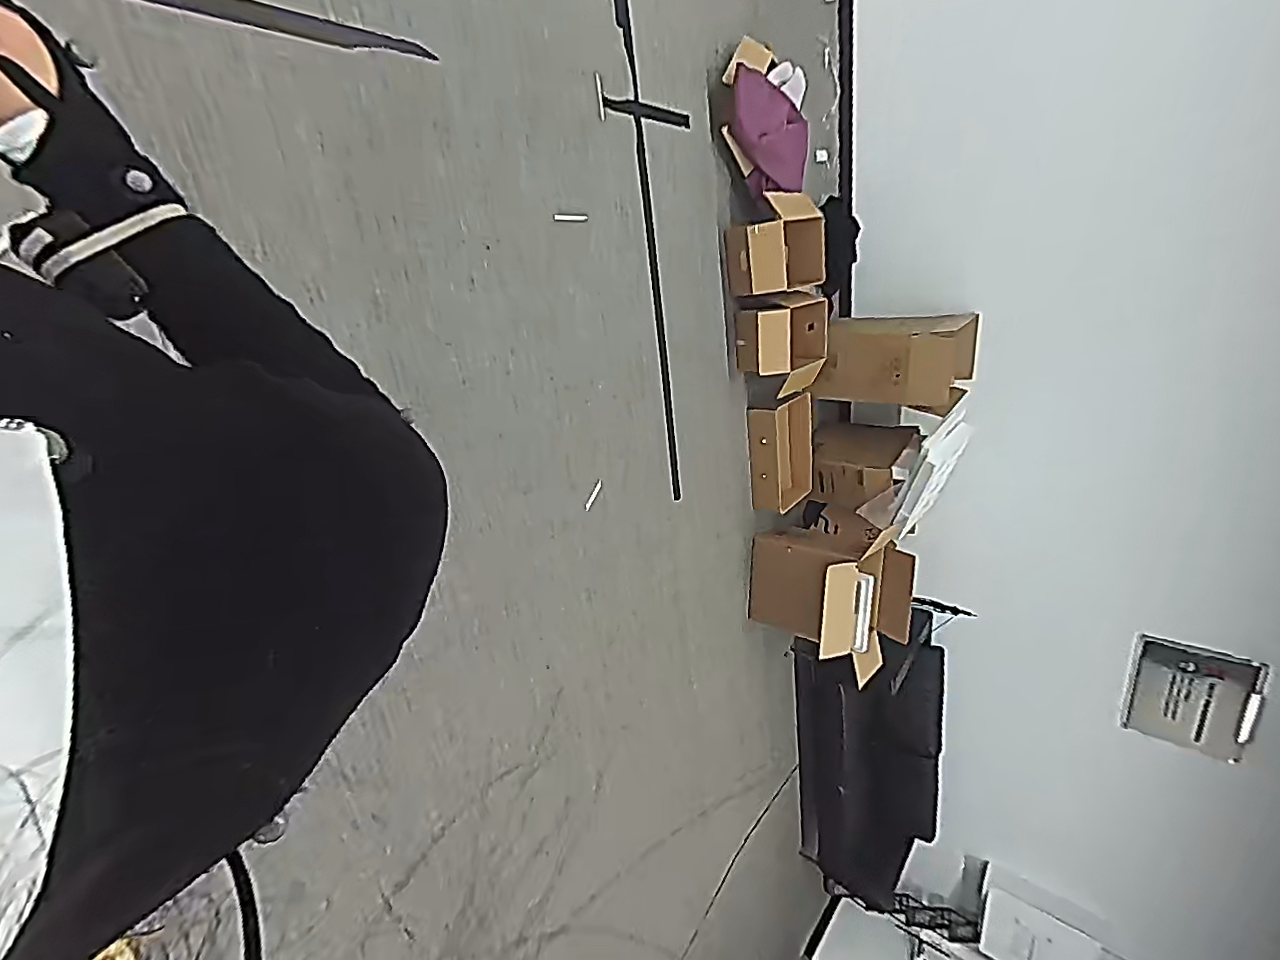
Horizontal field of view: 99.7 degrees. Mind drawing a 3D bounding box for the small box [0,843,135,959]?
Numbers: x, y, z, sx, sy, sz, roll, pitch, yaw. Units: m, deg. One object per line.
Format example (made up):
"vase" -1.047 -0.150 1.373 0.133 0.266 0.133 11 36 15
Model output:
"small box" -0.952 0.743 0.869 0.168 0.176 0.179 -23 115 -45
